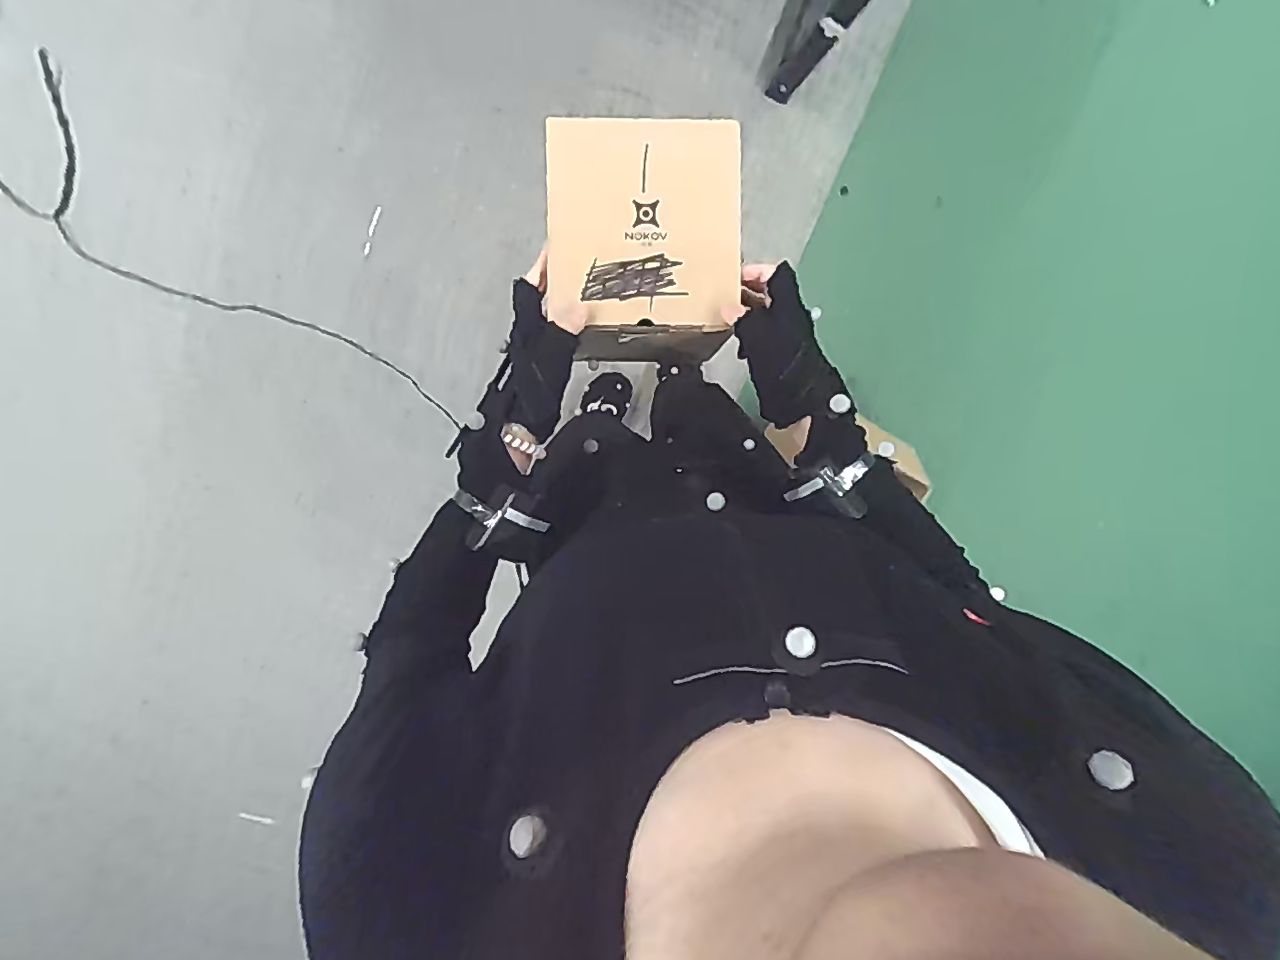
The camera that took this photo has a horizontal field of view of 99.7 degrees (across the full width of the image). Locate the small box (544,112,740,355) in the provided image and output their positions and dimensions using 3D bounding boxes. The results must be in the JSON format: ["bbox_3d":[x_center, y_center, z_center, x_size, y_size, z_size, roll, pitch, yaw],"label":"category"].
[{"bbox_3d":[0.001,-0.221,0.531,0.168,0.176,0.179,-1,92,-2],"label":"small box"}]
